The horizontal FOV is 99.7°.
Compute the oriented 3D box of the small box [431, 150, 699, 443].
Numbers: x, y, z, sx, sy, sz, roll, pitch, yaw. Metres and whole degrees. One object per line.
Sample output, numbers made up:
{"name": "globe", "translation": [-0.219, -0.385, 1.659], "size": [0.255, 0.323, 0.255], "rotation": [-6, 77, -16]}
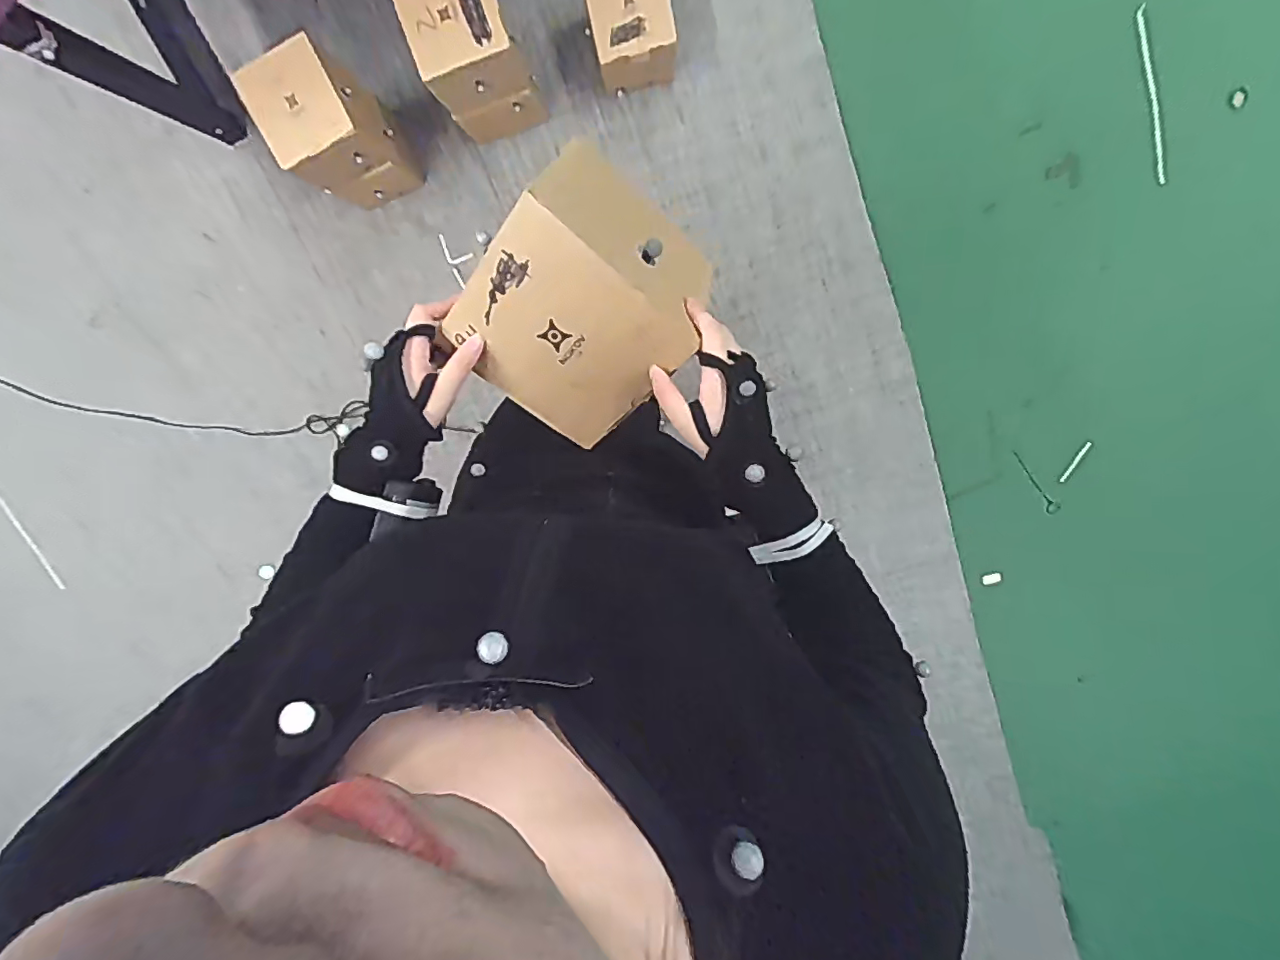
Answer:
{"name": "small box", "translation": [-0.058, -0.176, 0.519], "size": [0.179, 0.176, 0.168], "rotation": [36, 129, -22]}

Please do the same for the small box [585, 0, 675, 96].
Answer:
{"name": "small box", "translation": [-0.019, -0.961, 1.158], "size": [0.168, 0.176, 0.179], "rotation": [-12, 103, 4]}
